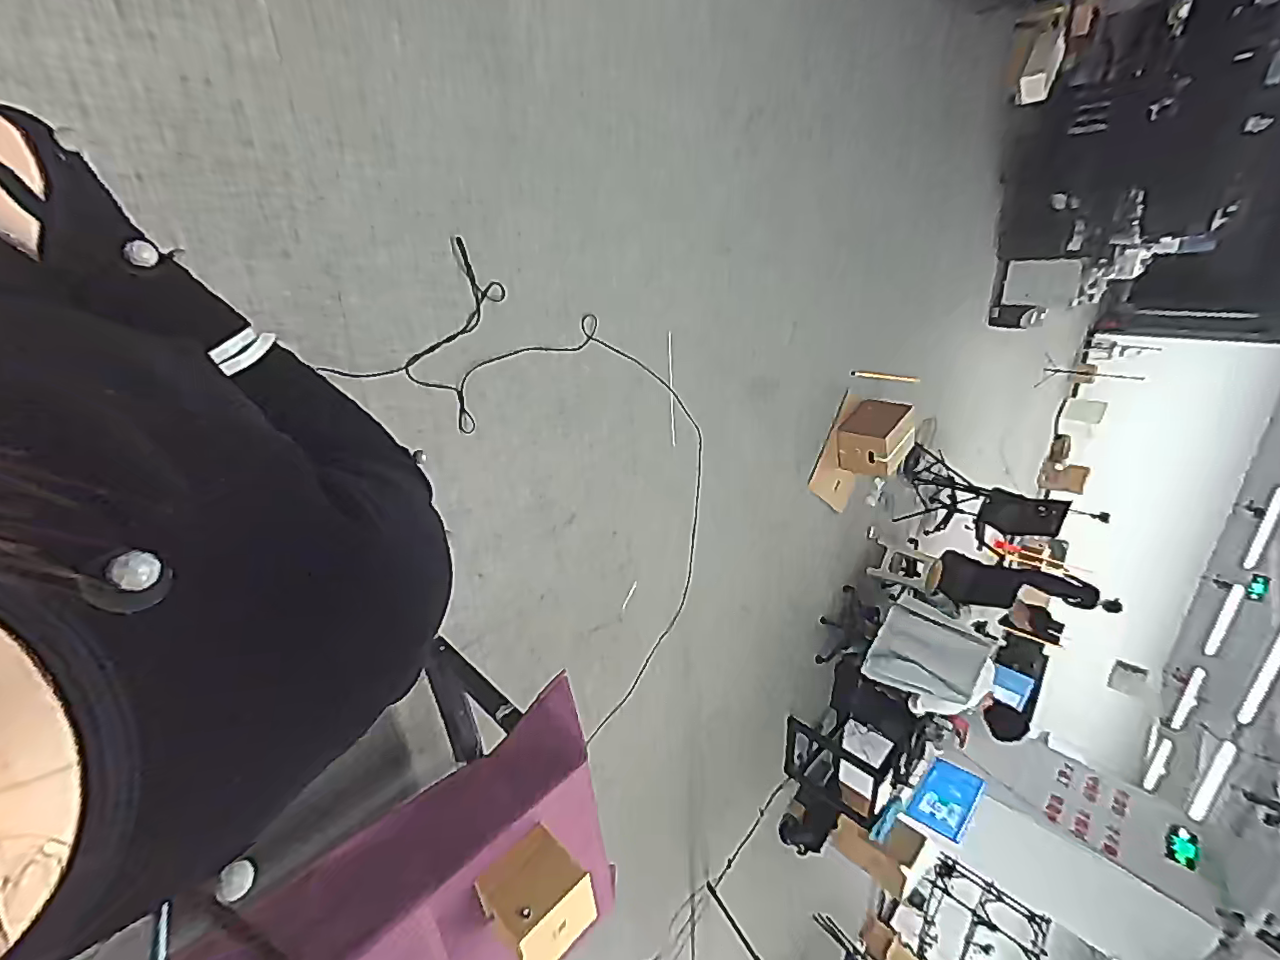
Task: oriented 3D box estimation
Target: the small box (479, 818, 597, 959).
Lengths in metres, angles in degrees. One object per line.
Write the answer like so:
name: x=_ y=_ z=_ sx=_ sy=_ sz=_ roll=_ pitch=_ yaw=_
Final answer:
small box: x=-0.219 y=0.888 z=1.170 sx=0.179 sy=0.176 sz=0.168 roll=-26 pitch=123 yaw=-37
